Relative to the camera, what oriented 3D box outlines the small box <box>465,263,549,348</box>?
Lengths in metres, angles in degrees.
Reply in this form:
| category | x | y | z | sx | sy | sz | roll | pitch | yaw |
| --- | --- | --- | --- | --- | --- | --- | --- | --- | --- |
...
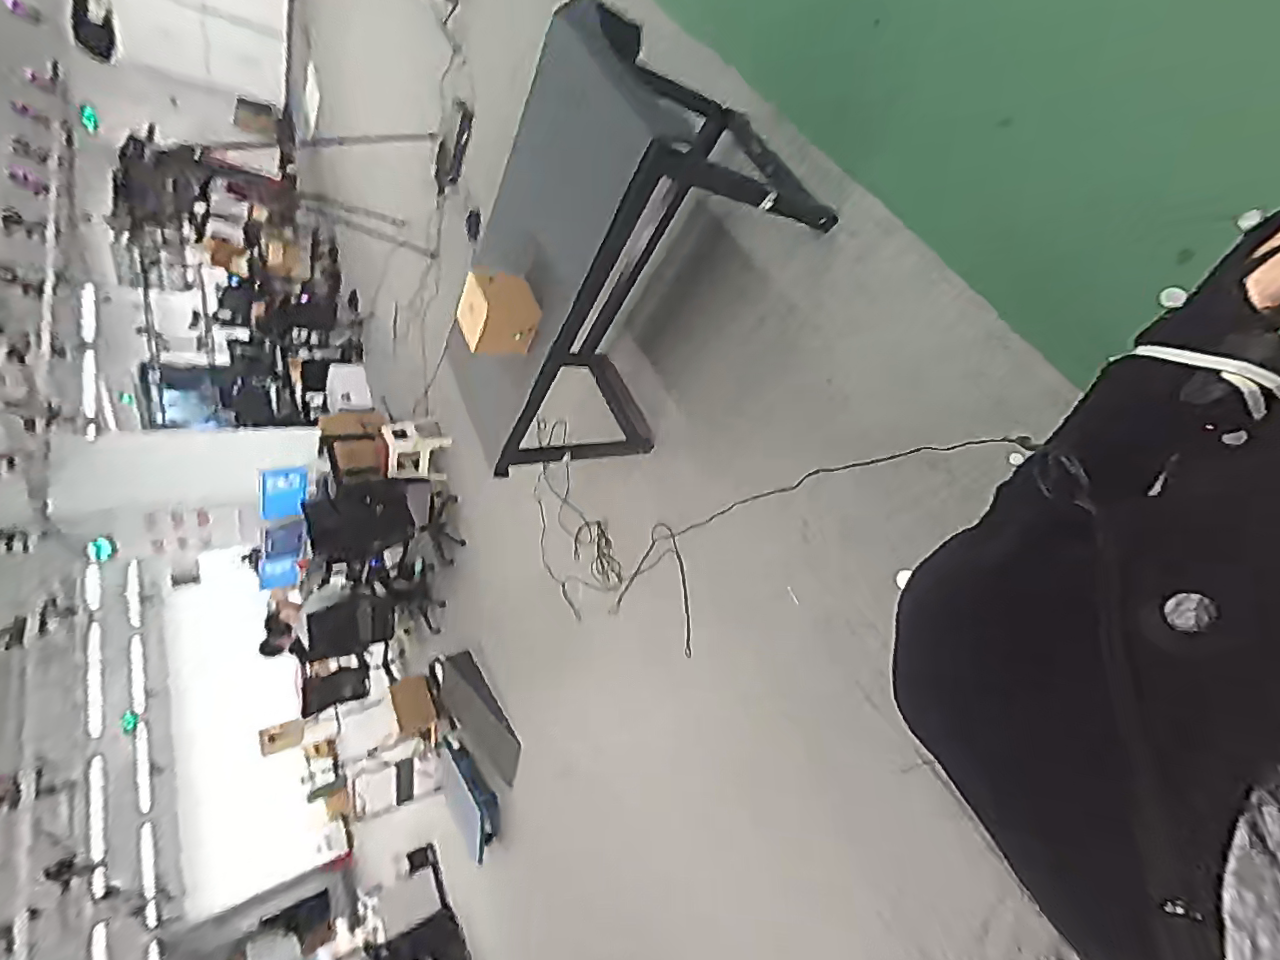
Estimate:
| category | x | y | z | sx | sy | sz | roll | pitch | yaw |
| --- | --- | --- | --- | --- | --- | --- | --- | --- | --- |
| small box | -0.393 | -0.505 | 1.592 | 0.168 | 0.176 | 0.179 | -53 | 55 | 43 |
